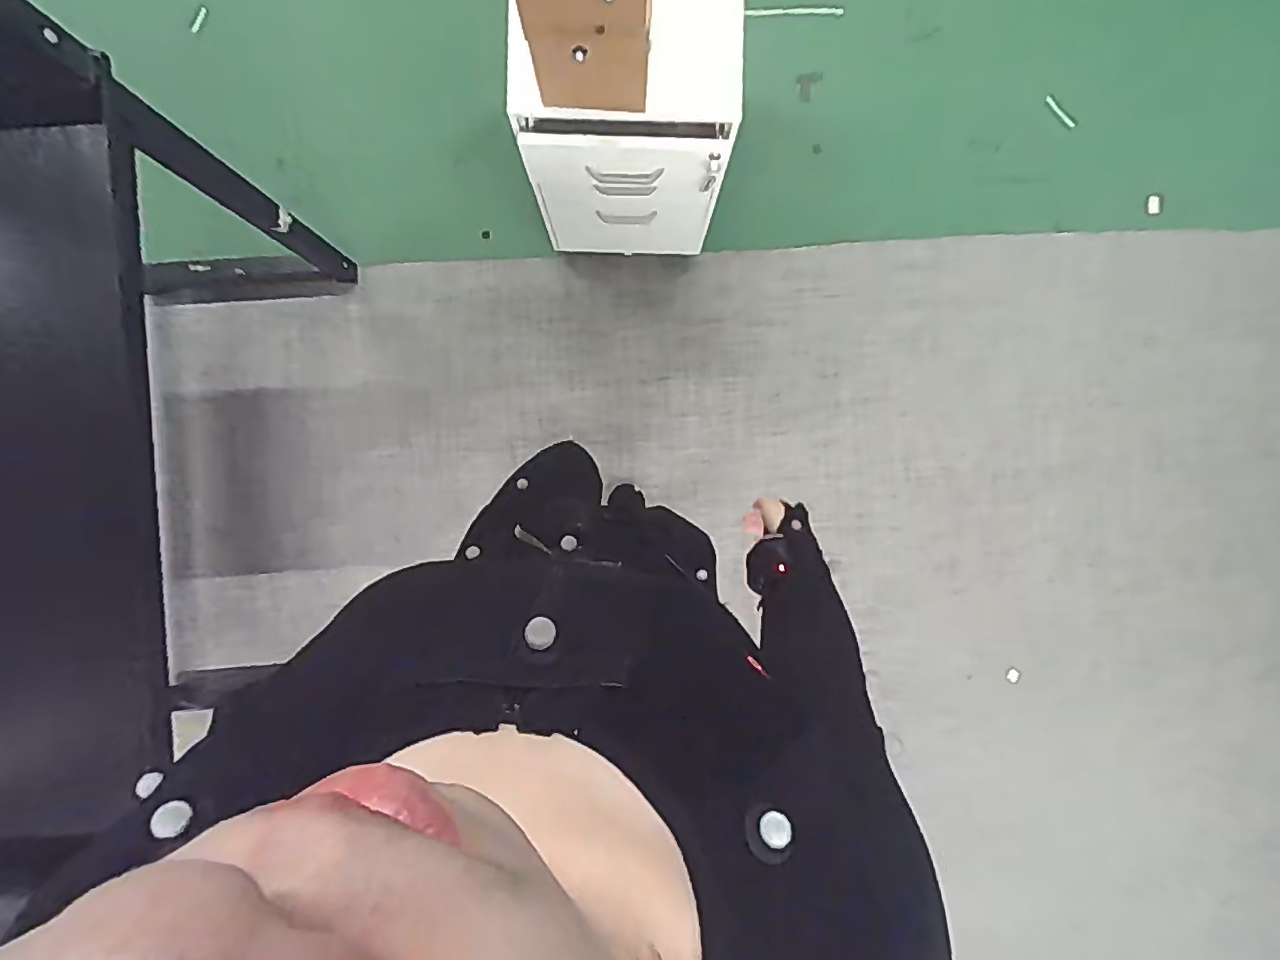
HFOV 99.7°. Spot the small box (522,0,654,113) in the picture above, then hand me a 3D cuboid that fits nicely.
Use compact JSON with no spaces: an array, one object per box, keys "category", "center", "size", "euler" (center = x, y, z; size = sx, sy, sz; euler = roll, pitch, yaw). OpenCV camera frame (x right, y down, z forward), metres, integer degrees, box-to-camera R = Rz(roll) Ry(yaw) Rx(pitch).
[{"category":"small box","center":[-0.069,-0.690,0.814],"size":[0.179,0.176,0.168],"euler":[4,90,-2]}]

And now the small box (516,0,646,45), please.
[{"category":"small box","center":[-0.072,-0.673,0.652],"size":[0.168,0.176,0.179],"euler":[1,89,-2]}]
